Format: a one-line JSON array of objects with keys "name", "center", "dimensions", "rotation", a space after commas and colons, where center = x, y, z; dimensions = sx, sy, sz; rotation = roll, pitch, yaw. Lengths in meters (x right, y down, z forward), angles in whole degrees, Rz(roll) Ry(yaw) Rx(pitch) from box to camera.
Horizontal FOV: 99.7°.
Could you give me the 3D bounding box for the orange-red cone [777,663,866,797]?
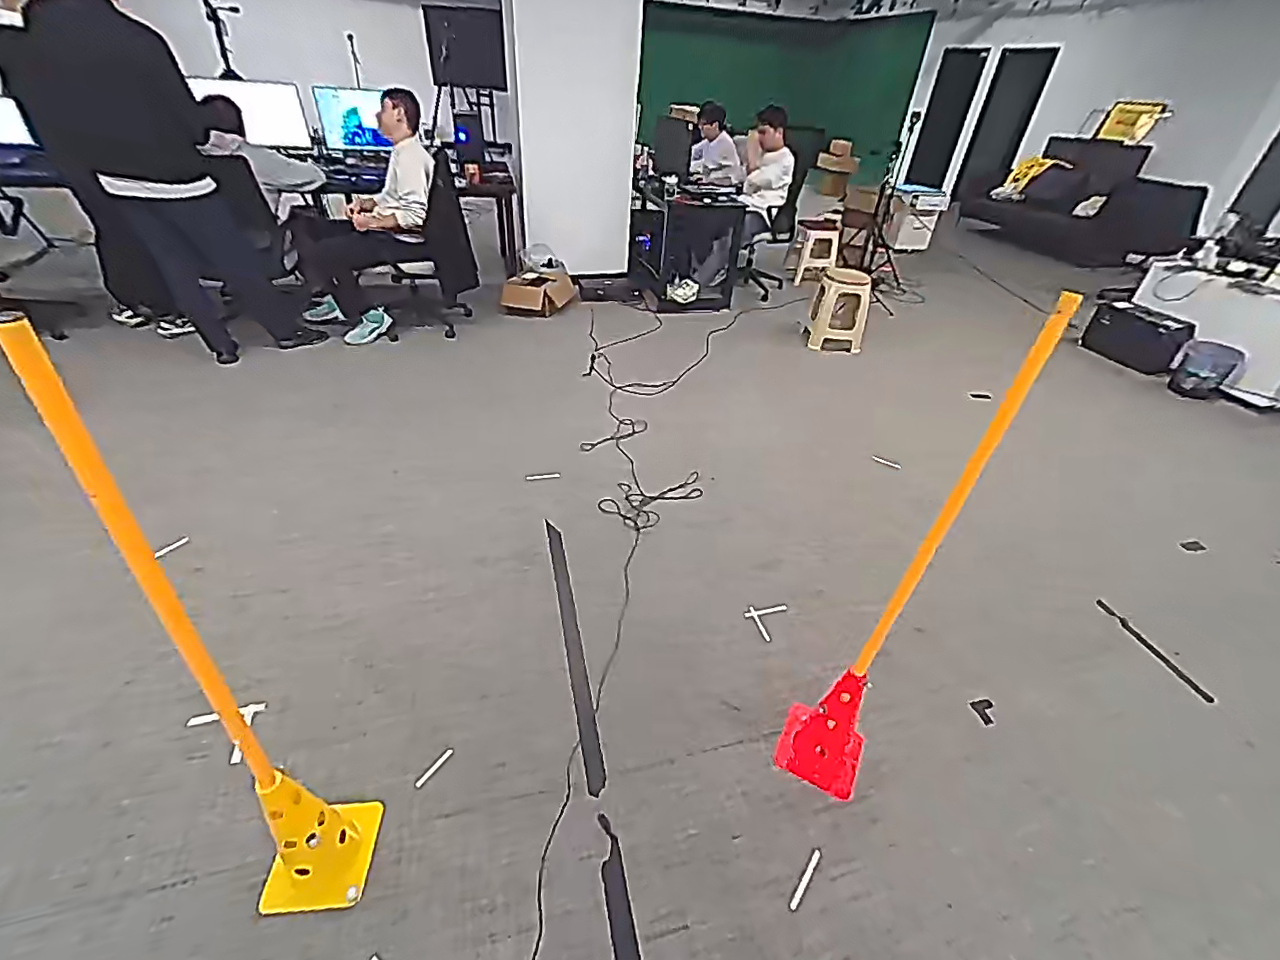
[{"name": "orange-red cone", "center": [0.485, 0.569, 1.321], "dimensions": [0.198, 0.360, 0.199], "rotation": [21, 41, 23]}]
